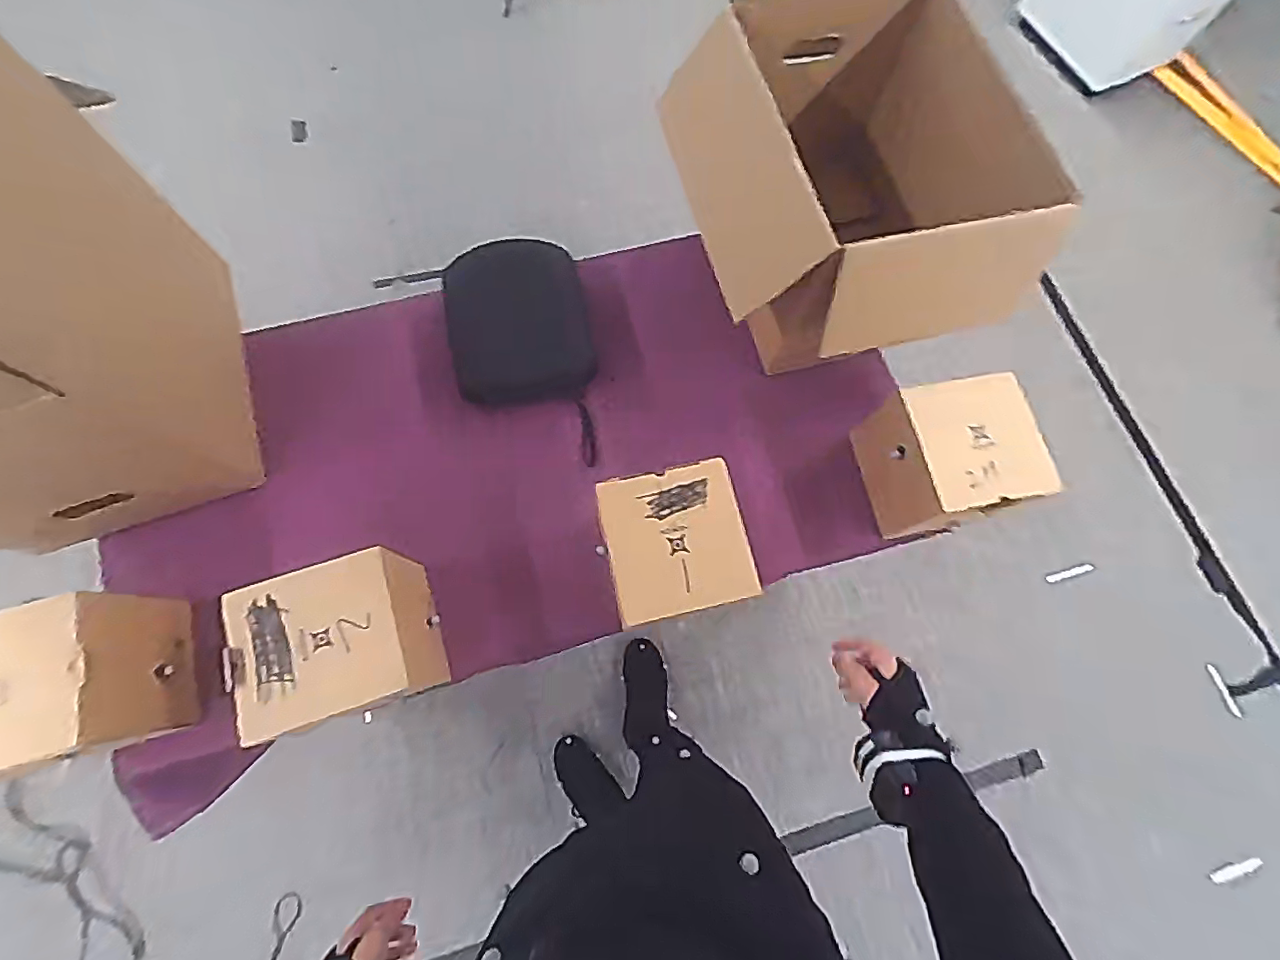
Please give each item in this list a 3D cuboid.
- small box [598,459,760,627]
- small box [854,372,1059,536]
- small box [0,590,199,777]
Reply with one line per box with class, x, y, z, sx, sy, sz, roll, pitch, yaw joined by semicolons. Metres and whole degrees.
small box;0.040;0.092;0.723;0.168;0.176;0.179;-12;75;-6
small box;0.434;-0.030;0.777;0.168;0.176;0.179;-9;74;-5
small box;-0.676;0.241;0.639;0.179;0.176;0.168;-16;75;-9
